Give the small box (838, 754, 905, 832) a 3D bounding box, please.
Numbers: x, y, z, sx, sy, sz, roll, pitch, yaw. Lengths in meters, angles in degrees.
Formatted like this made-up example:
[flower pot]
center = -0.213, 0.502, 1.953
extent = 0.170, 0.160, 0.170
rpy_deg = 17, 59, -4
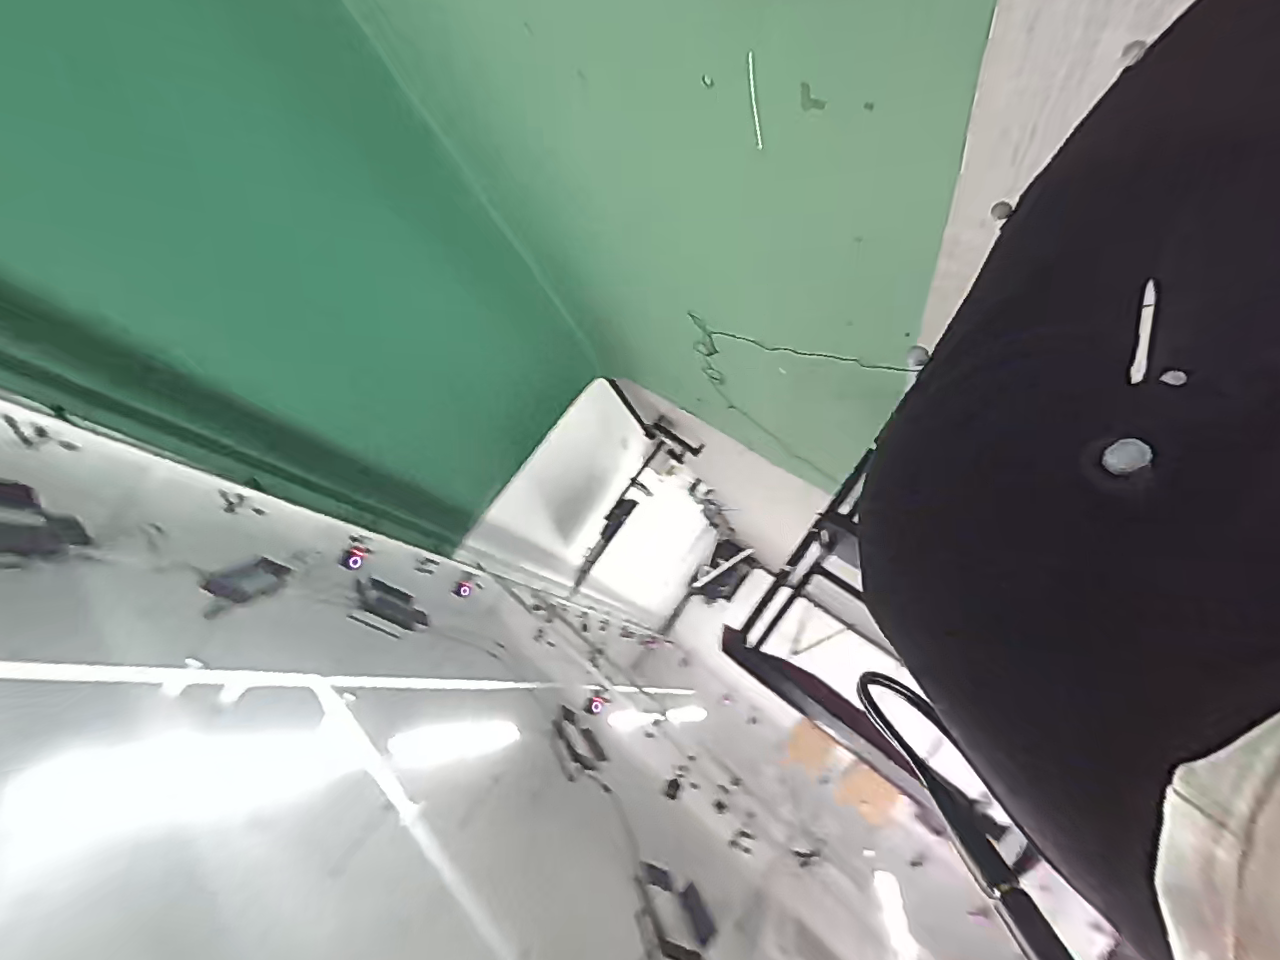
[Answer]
[small box]
center = 0.890, 1.199, 2.083
extent = 0.179, 0.176, 0.168
rpy_deg = 36, 175, 25
